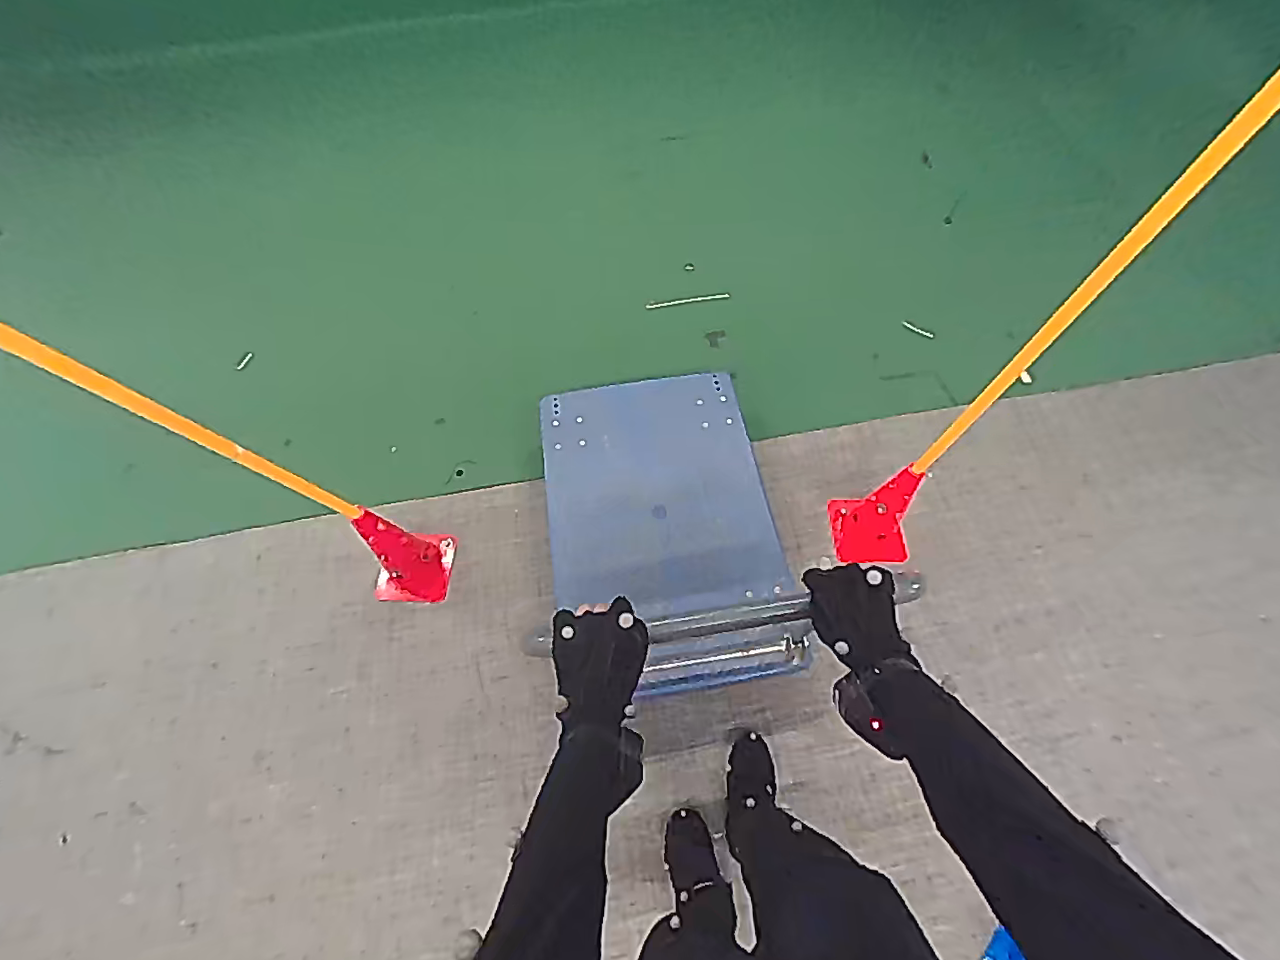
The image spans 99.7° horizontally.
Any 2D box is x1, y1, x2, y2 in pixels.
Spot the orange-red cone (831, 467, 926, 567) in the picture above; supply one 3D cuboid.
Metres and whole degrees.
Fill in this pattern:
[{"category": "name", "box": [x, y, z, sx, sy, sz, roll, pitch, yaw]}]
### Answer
[{"category": "orange-red cone", "box": [0.651, 0.073, 1.402, 0.198, 0.360, 0.199, 0, 61, 2]}]
